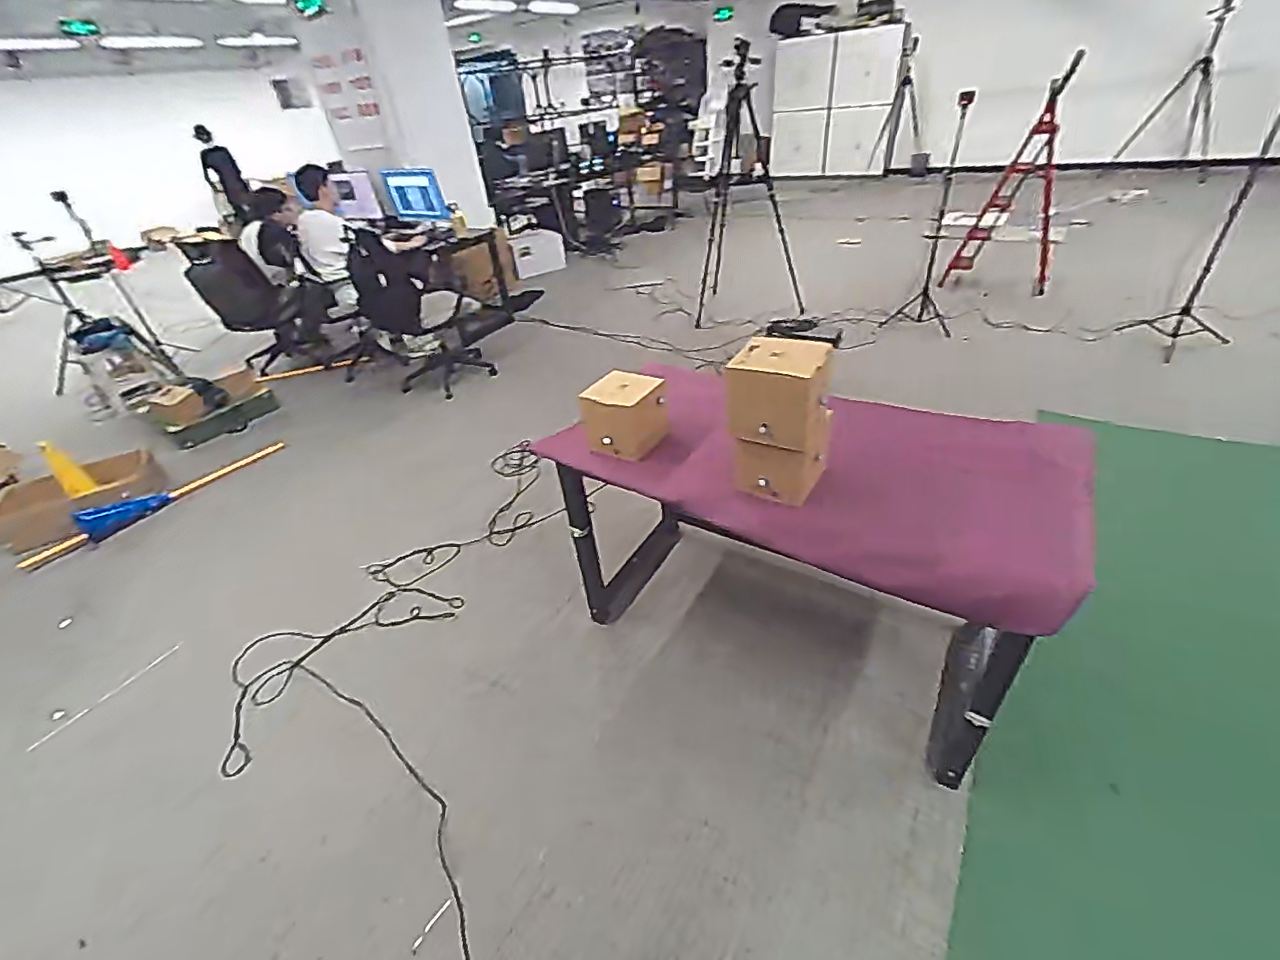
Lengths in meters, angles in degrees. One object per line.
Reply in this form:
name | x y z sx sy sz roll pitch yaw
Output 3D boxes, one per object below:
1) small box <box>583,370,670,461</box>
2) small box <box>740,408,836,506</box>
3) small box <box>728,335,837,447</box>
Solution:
small box | -0.030 -0.177 1.460 0.168 0.176 0.179 16 40 29
small box | 0.337 -0.070 1.254 0.168 0.176 0.179 17 43 31
small box | 0.299 -0.189 1.144 0.179 0.176 0.168 15 42 28
